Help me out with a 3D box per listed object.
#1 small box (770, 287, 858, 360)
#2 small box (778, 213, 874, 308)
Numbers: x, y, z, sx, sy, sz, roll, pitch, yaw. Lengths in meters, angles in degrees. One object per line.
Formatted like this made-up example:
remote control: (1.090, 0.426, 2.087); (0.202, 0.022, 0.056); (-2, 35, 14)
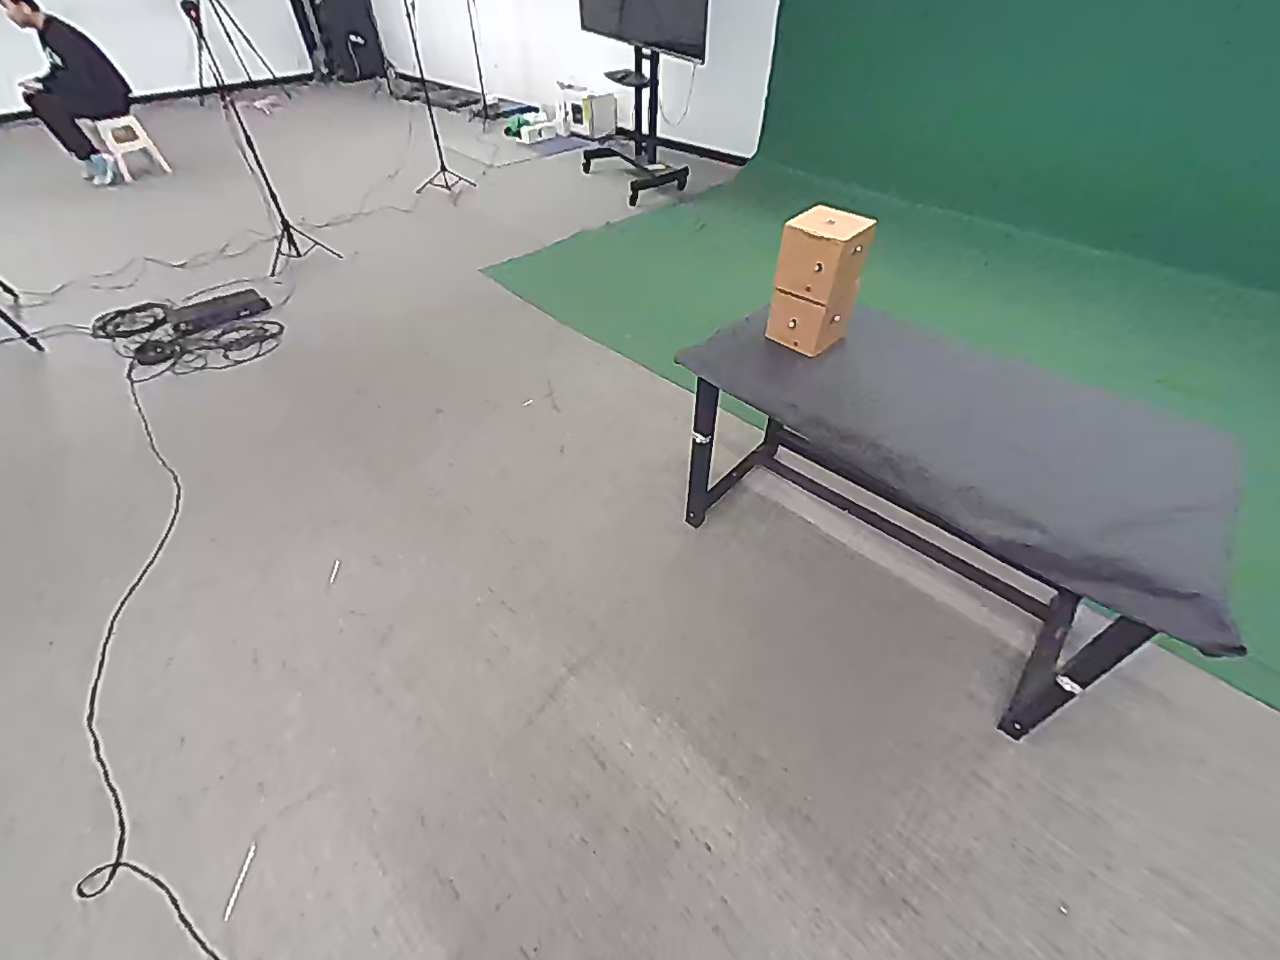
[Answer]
small box: (0.490, -0.469, 1.550); (0.168, 0.176, 0.179); (36, 55, 29)
small box: (0.482, -0.576, 1.427); (0.168, 0.176, 0.179); (34, 53, 27)
